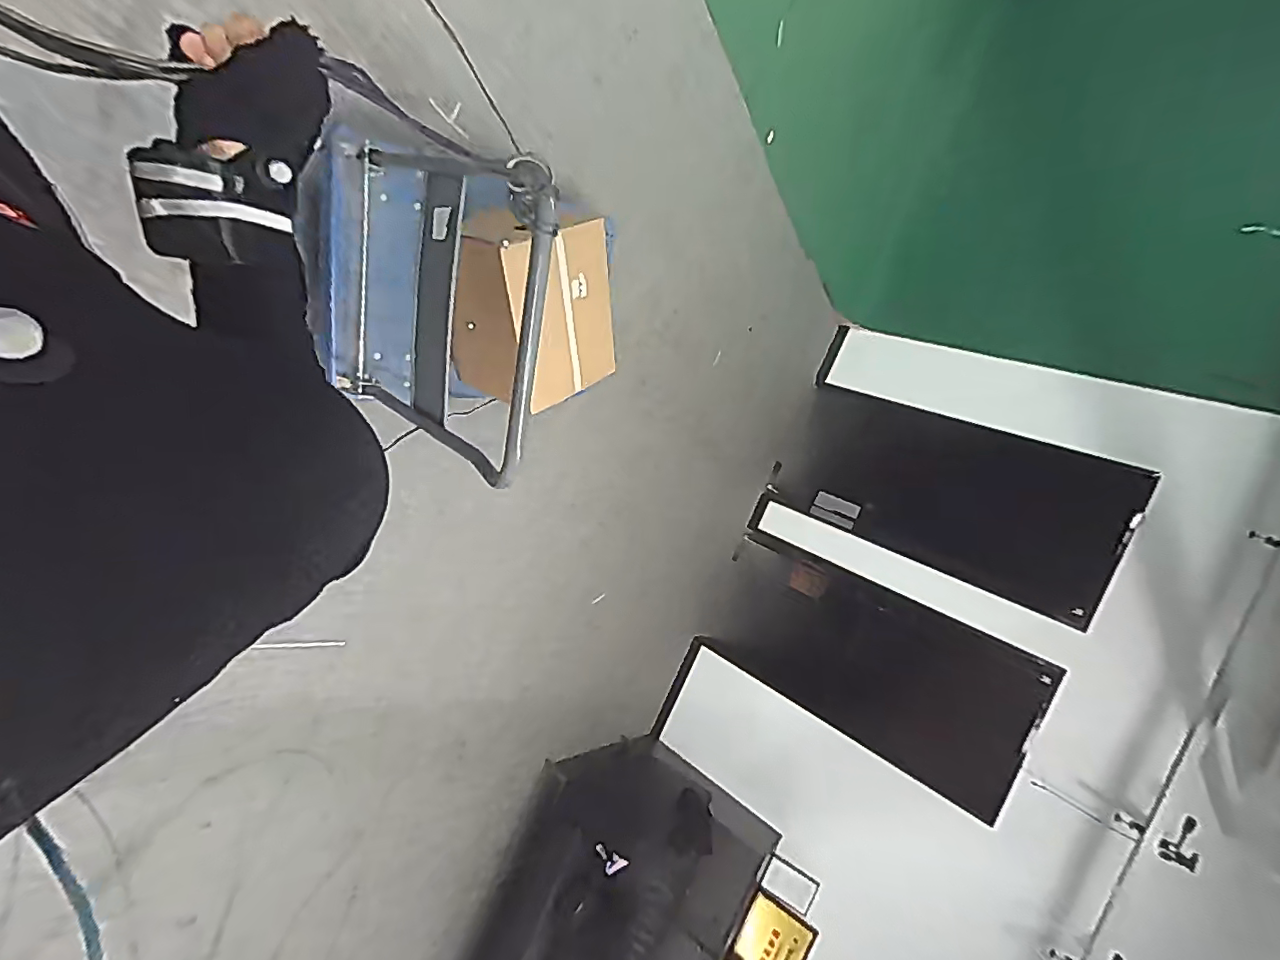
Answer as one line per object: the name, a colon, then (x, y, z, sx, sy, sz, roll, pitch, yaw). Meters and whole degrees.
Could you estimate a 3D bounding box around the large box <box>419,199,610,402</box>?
large box: (-0.308, -0.475, 1.406, 0.320, 0.320, 0.408, -37, 138, -36)
